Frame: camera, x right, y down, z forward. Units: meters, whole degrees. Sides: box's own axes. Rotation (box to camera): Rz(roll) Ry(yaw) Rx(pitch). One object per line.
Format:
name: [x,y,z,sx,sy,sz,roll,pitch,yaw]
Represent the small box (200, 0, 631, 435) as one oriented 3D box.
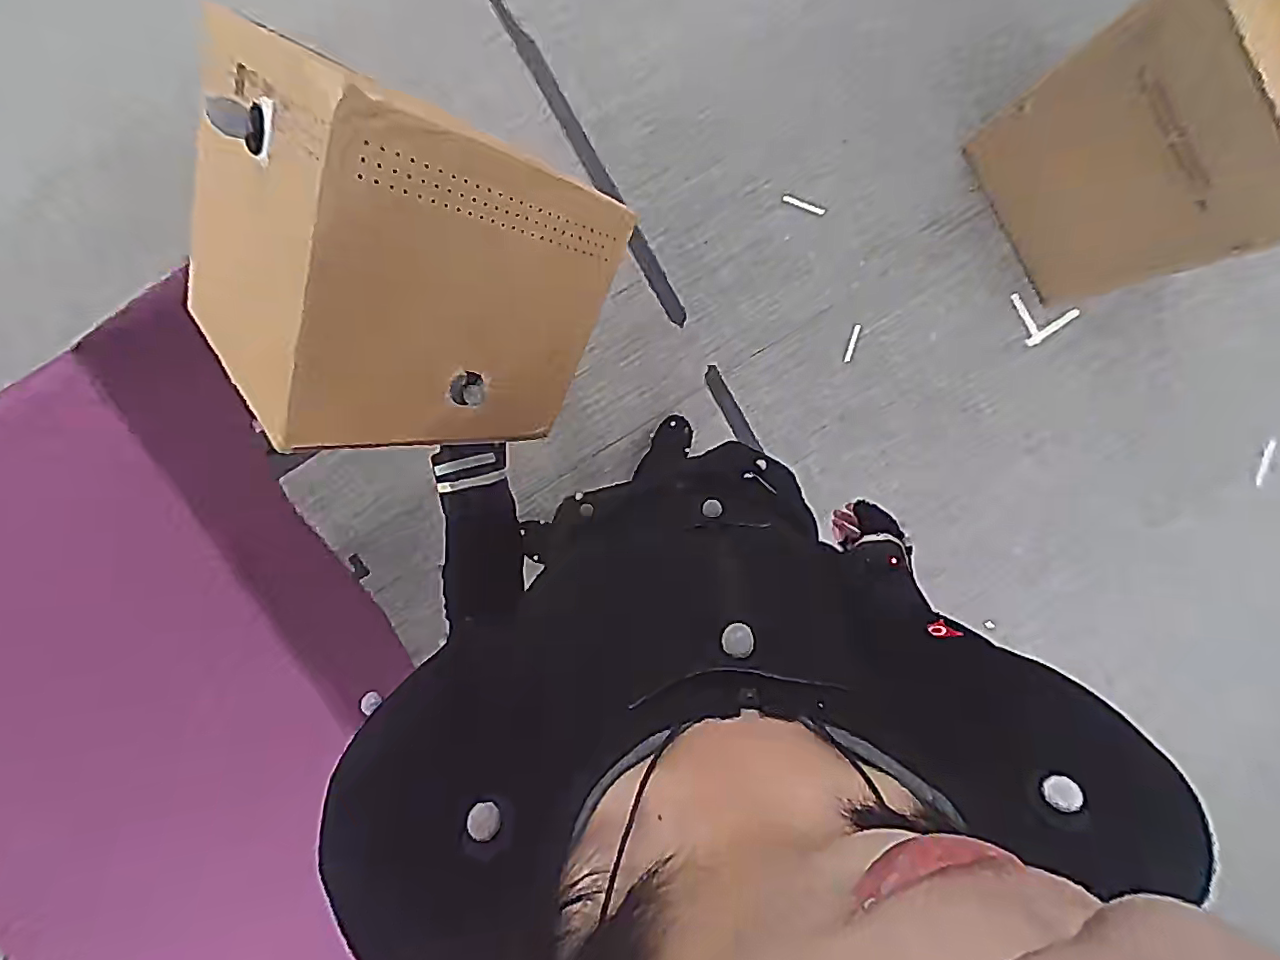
small box: [-0.135,-0.144,0.330,0.168,0.179,0.176,40,118,29]
